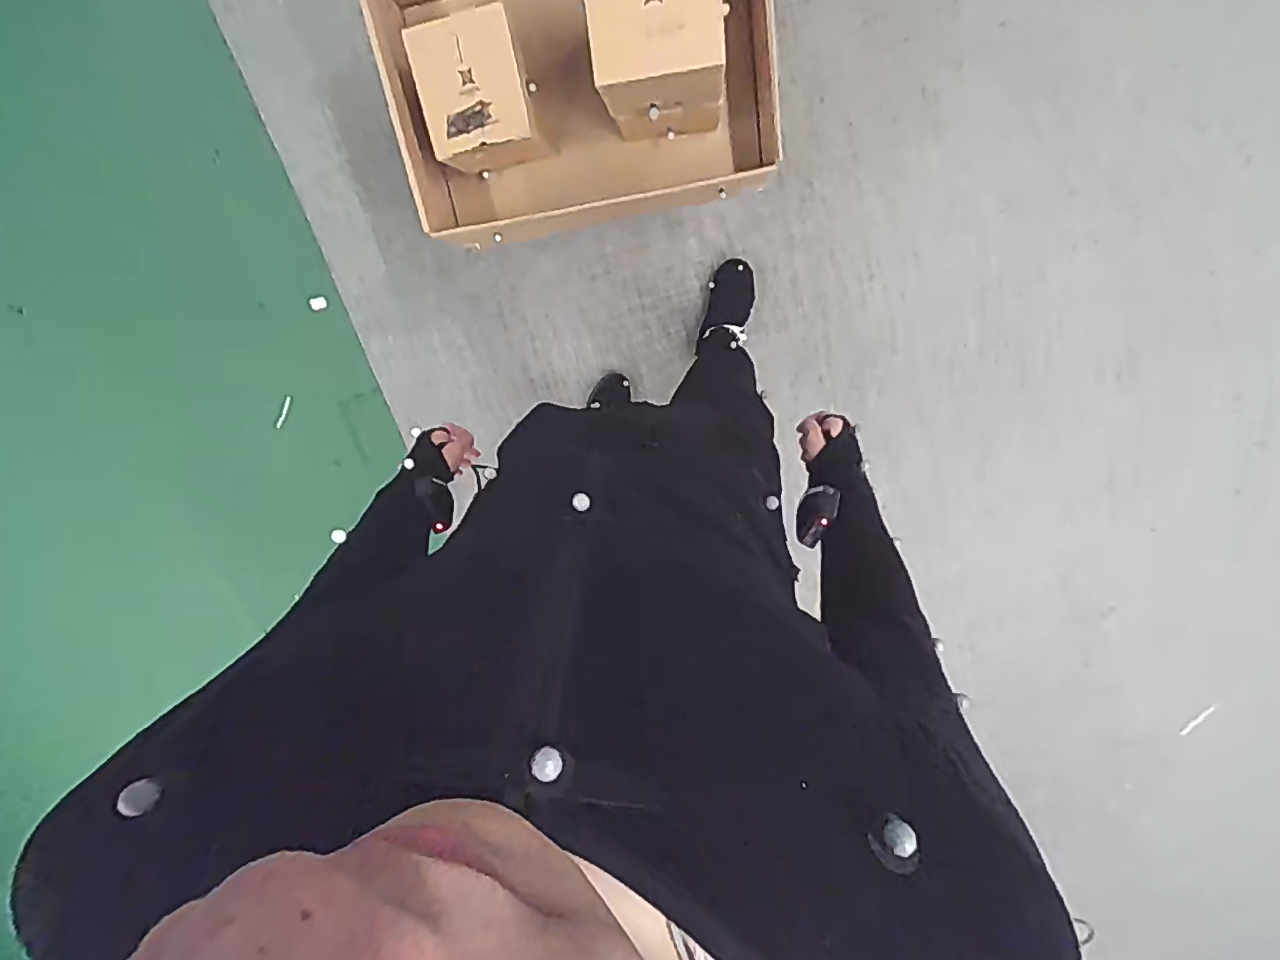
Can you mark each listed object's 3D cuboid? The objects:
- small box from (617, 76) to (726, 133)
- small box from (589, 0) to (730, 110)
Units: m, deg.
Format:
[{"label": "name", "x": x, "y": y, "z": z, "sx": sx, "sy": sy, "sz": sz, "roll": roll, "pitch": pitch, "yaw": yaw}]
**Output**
[{"label": "small box", "x": 0.044, "y": -0.672, "z": 0.846, "sx": 0.168, "sy": 0.176, "sz": 0.179, "roll": -3, "pitch": 112, "yaw": 7}, {"label": "small box", "x": 0.026, "y": -0.611, "z": 0.696, "sx": 0.168, "sy": 0.176, "sz": 0.179, "roll": -4, "pitch": 111, "yaw": 7}]
